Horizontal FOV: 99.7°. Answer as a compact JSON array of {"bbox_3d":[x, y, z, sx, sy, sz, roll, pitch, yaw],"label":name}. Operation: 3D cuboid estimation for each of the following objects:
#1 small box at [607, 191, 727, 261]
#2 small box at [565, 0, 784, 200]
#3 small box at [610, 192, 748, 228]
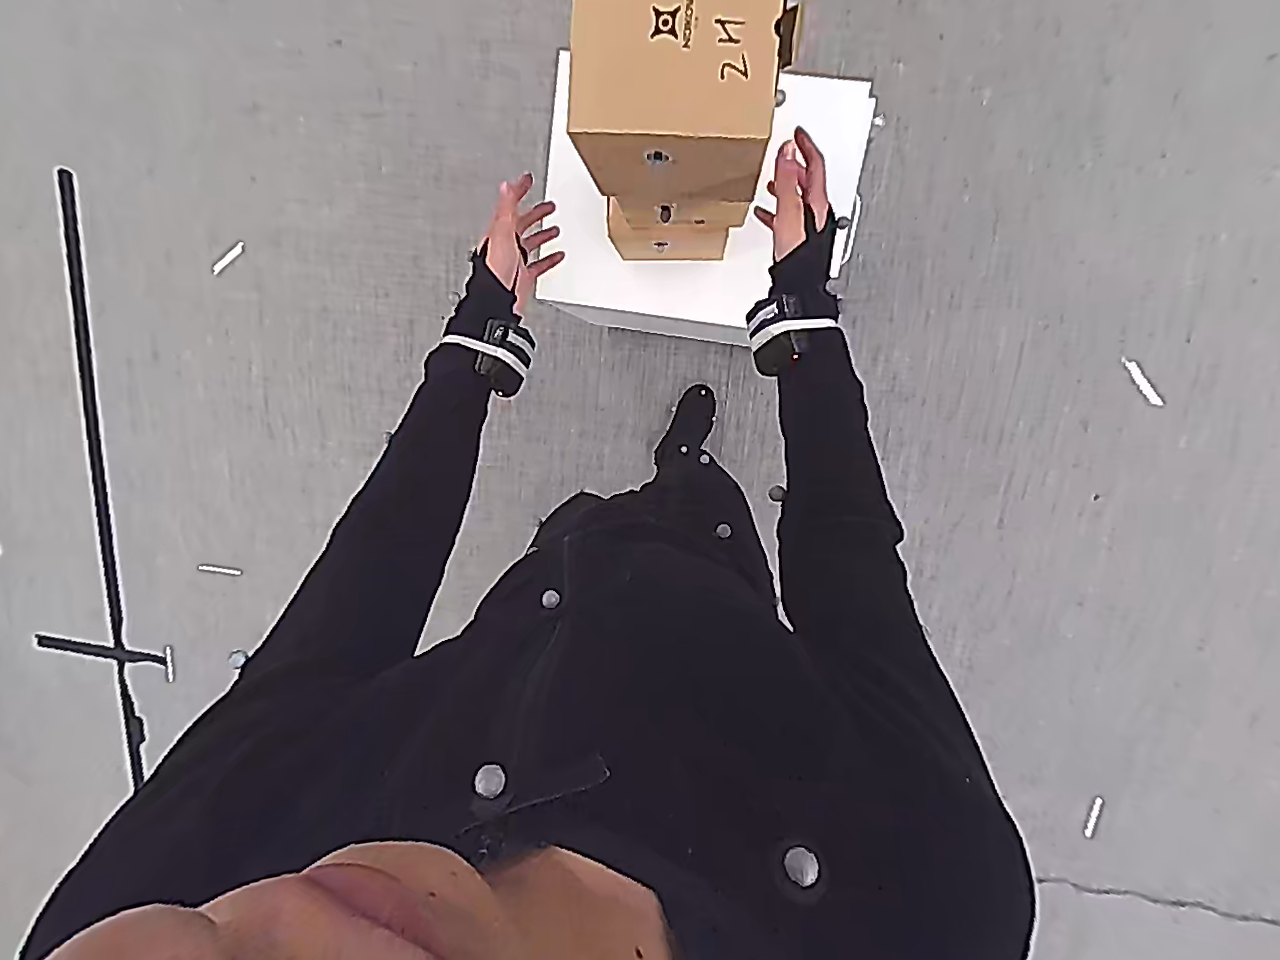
[{"bbox_3d":[0.048,-0.444,0.843,0.179,0.176,0.168,2,101,5],"label":"small box"},{"bbox_3d":[0.037,-0.384,0.520,0.179,0.176,0.168,6,101,5],"label":"small box"},{"bbox_3d":[0.057,-0.428,0.679,0.168,0.176,0.179,3,100,5],"label":"small box"}]
